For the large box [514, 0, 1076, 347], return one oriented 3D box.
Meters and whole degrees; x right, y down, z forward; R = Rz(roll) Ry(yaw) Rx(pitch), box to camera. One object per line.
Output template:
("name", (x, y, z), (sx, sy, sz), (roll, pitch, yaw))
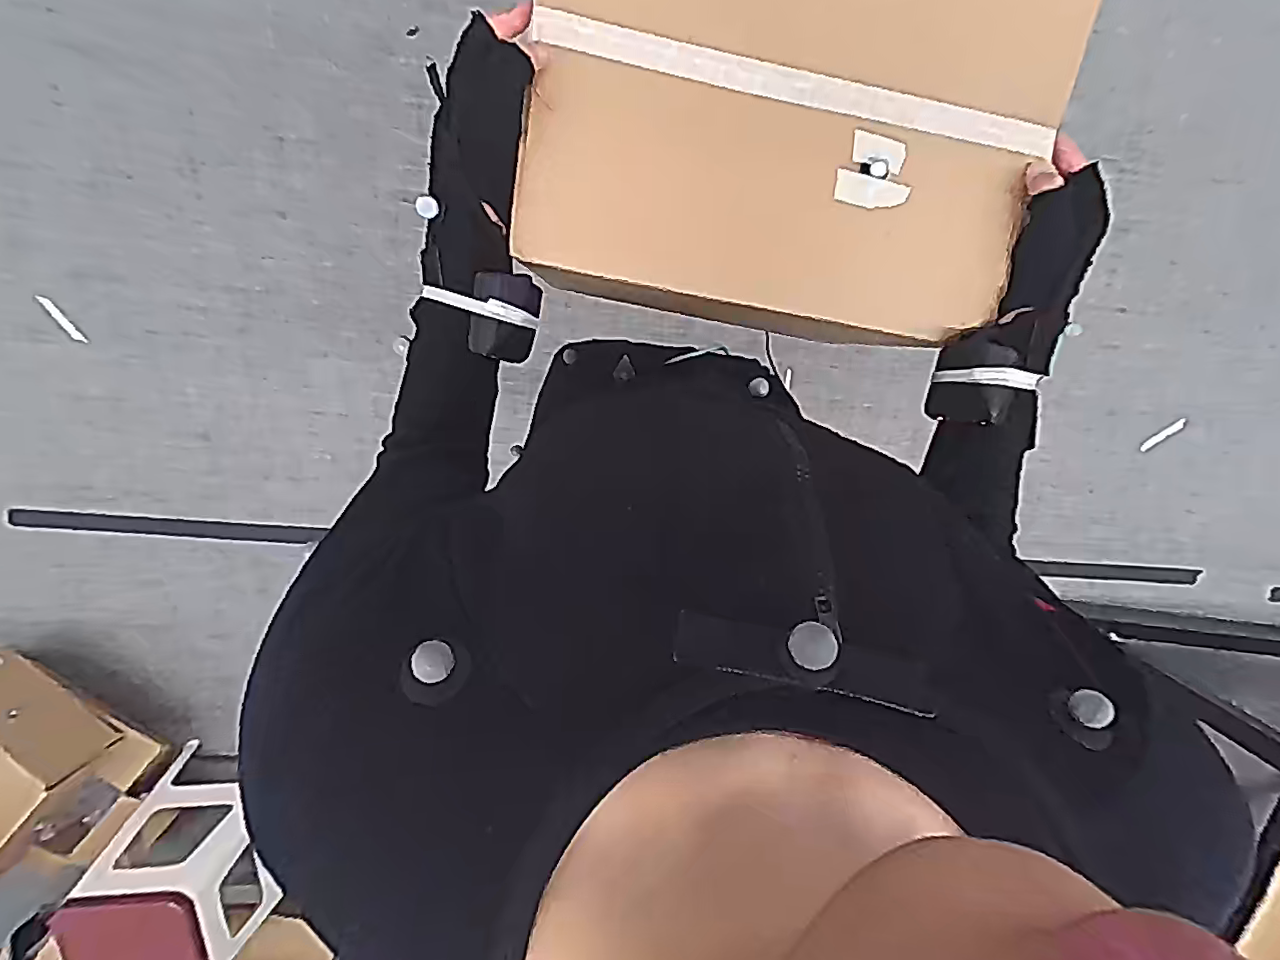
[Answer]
("large box", (0.105, -0.329, 0.558), (0.408, 0.320, 0.320), (9, 106, -7))
